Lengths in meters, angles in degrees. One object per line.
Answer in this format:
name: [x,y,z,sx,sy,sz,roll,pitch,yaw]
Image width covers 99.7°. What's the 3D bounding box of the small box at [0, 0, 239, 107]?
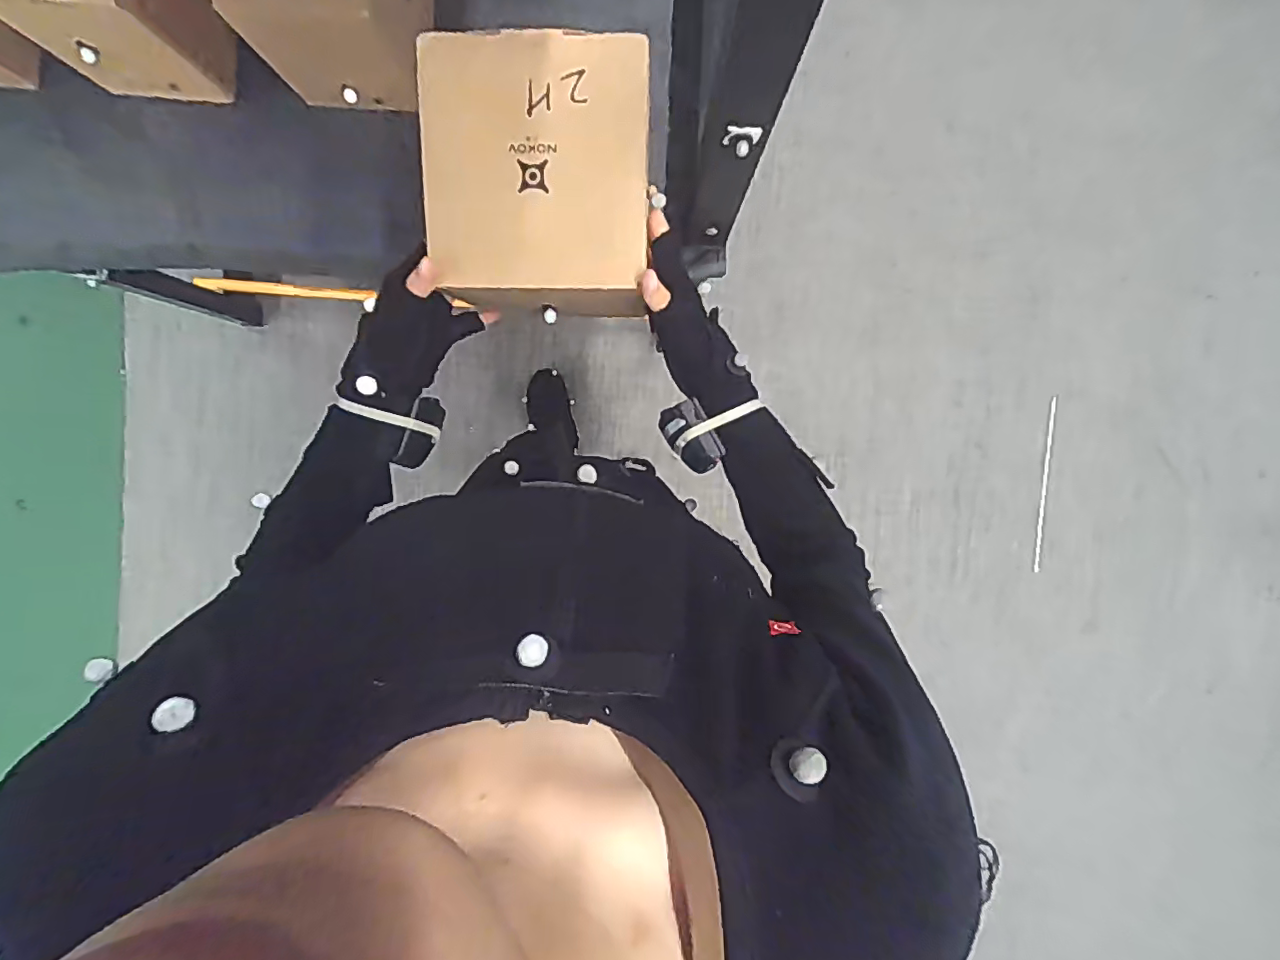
small box: [-0.613,-0.579,0.636,0.168,0.176,0.179,4,93,-1]
